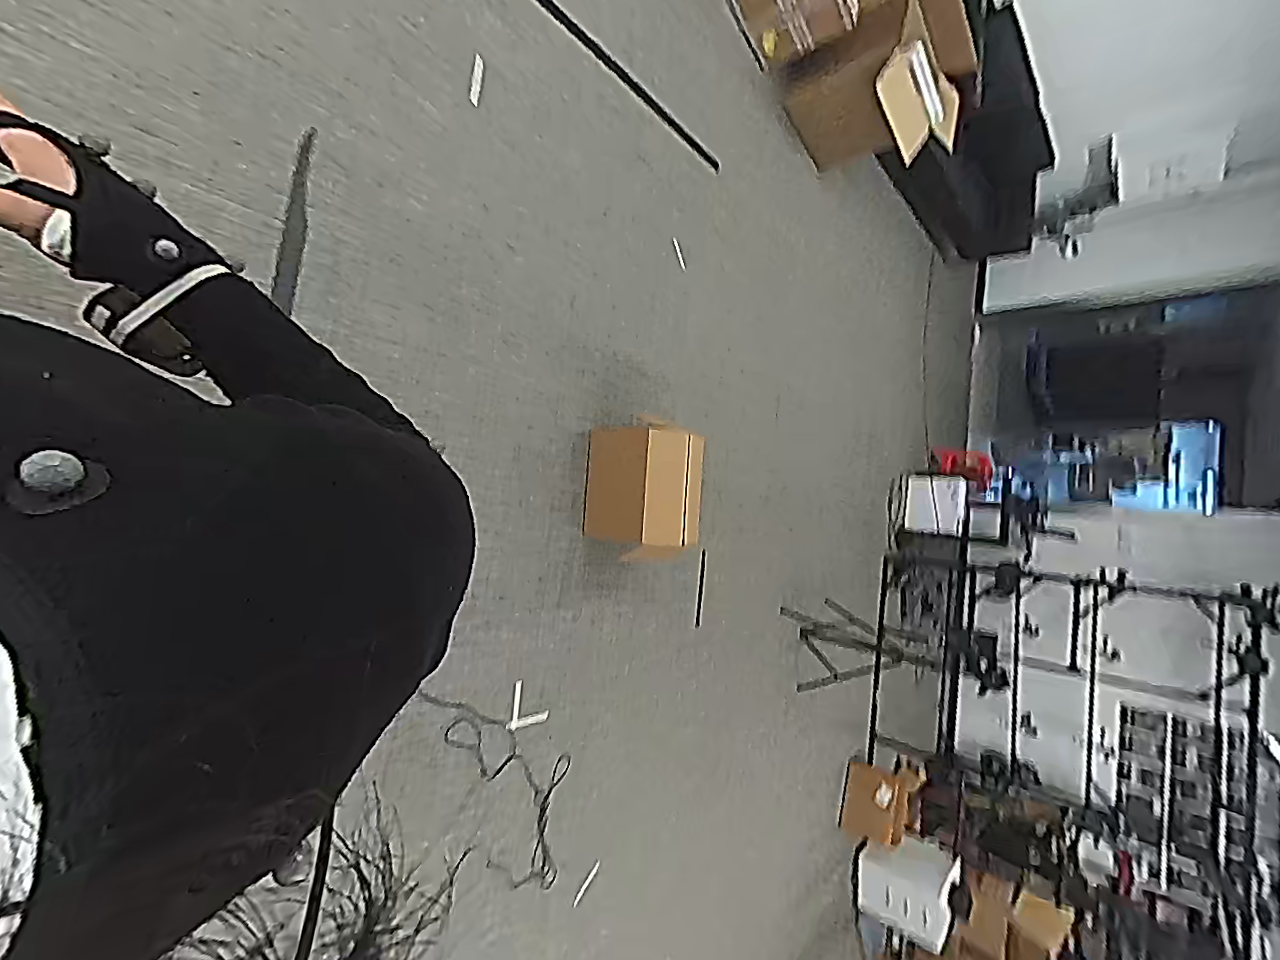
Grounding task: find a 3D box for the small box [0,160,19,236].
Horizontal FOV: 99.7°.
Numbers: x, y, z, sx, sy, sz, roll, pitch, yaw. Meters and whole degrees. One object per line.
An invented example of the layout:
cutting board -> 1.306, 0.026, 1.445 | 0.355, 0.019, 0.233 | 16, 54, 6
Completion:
small box -> -0.524, -0.247, 0.320 | 0.179, 0.176, 0.168 | -18, 111, -45
